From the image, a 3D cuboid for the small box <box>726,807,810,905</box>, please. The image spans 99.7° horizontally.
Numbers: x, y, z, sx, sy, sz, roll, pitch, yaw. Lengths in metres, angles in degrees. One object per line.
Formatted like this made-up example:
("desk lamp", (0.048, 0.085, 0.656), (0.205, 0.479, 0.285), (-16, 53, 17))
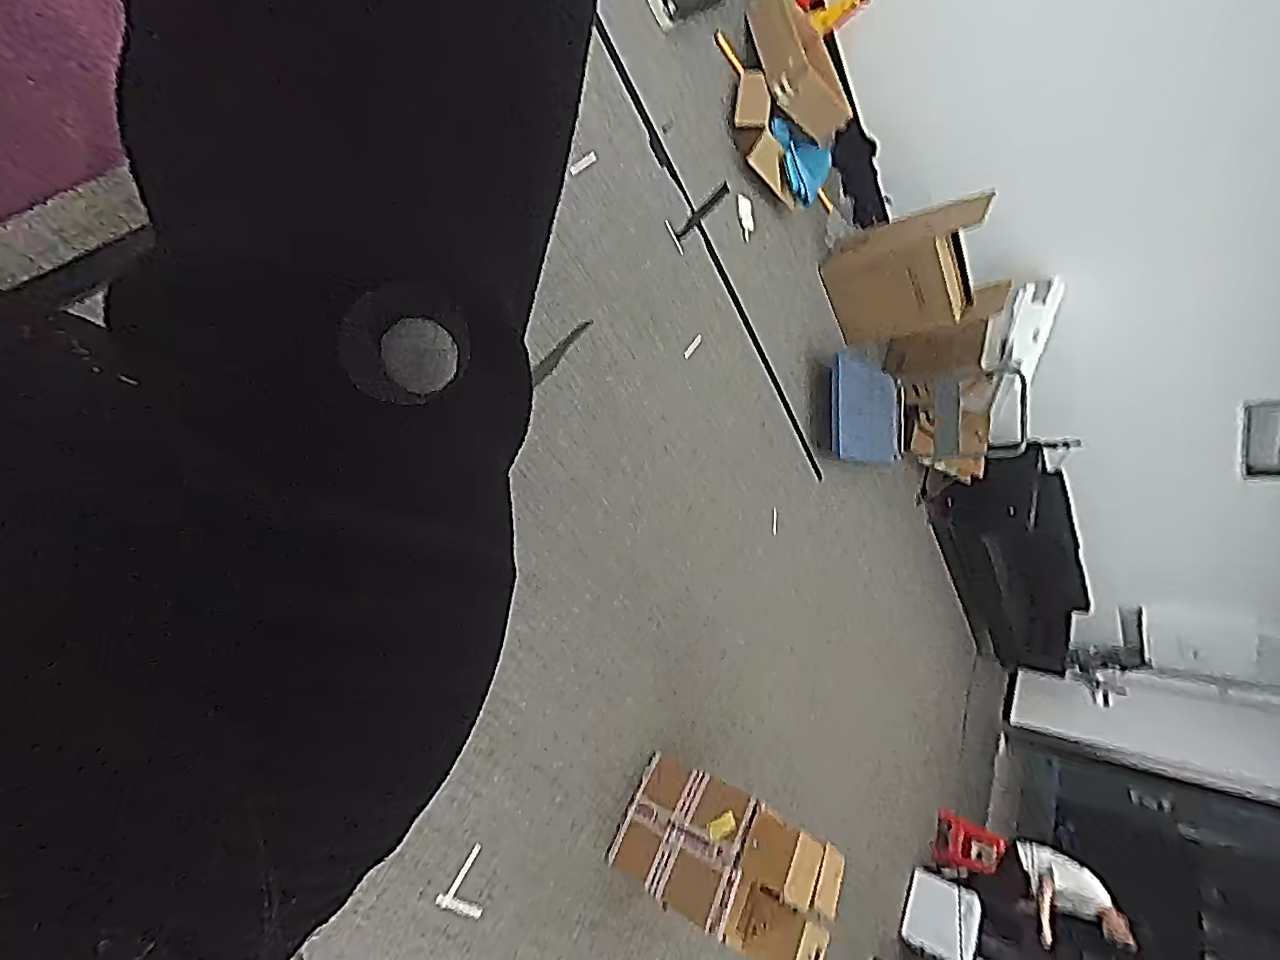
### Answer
("small box", (0.402, 1.156, 1.665), (0.168, 0.176, 0.179), (50, 56, -30))
